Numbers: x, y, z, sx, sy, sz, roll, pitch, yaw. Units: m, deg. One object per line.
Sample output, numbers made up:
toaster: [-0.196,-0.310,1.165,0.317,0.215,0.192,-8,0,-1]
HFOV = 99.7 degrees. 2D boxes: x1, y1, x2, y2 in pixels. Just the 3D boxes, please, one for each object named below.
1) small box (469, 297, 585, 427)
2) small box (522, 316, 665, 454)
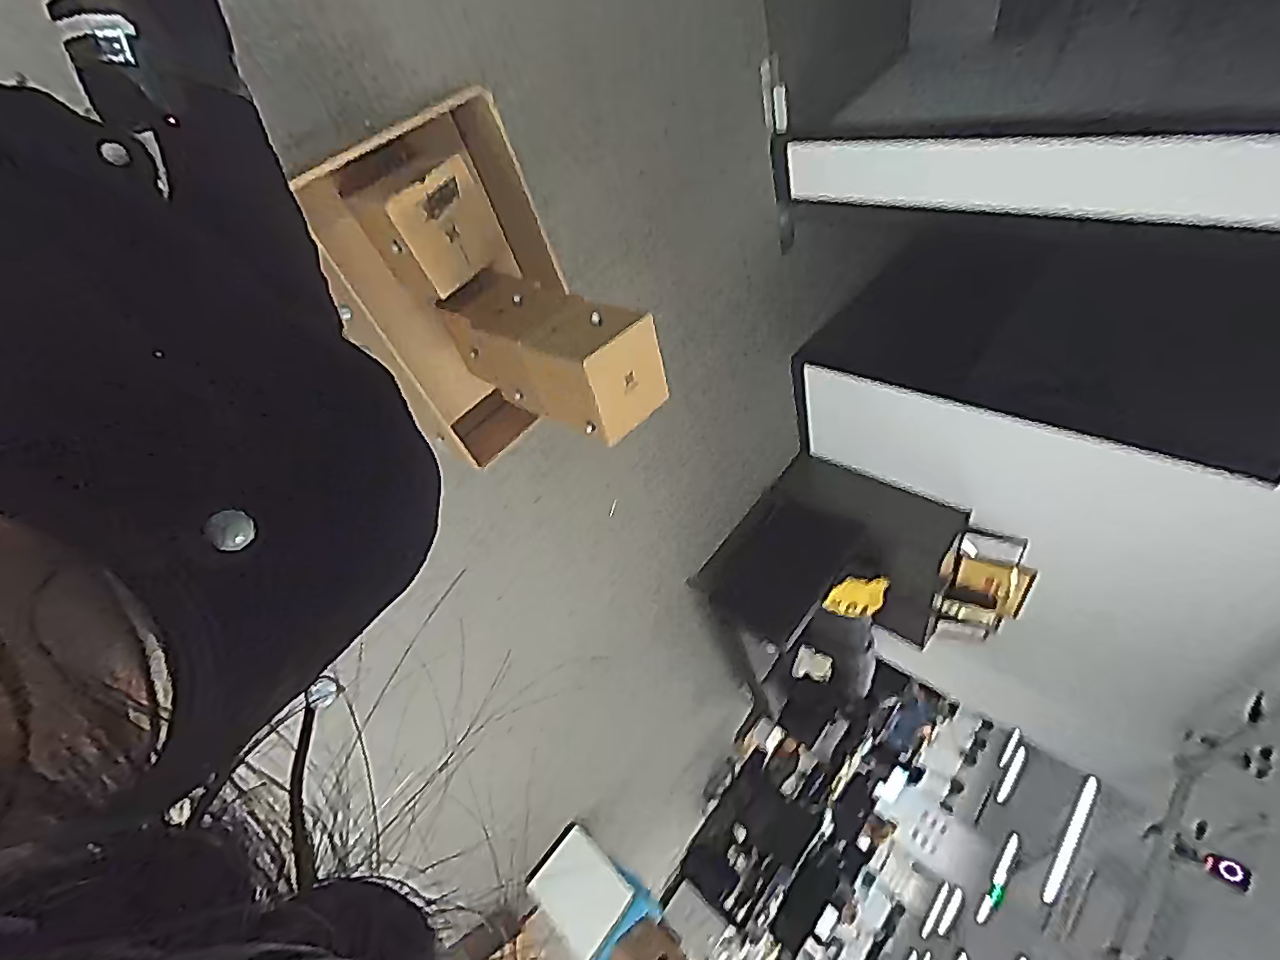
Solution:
small box: [-0.199,-0.237,1.061,0.168,0.176,0.179,-43,137,-25]
small box: [-0.083,-0.178,0.965,0.168,0.176,0.179,-42,138,-27]
